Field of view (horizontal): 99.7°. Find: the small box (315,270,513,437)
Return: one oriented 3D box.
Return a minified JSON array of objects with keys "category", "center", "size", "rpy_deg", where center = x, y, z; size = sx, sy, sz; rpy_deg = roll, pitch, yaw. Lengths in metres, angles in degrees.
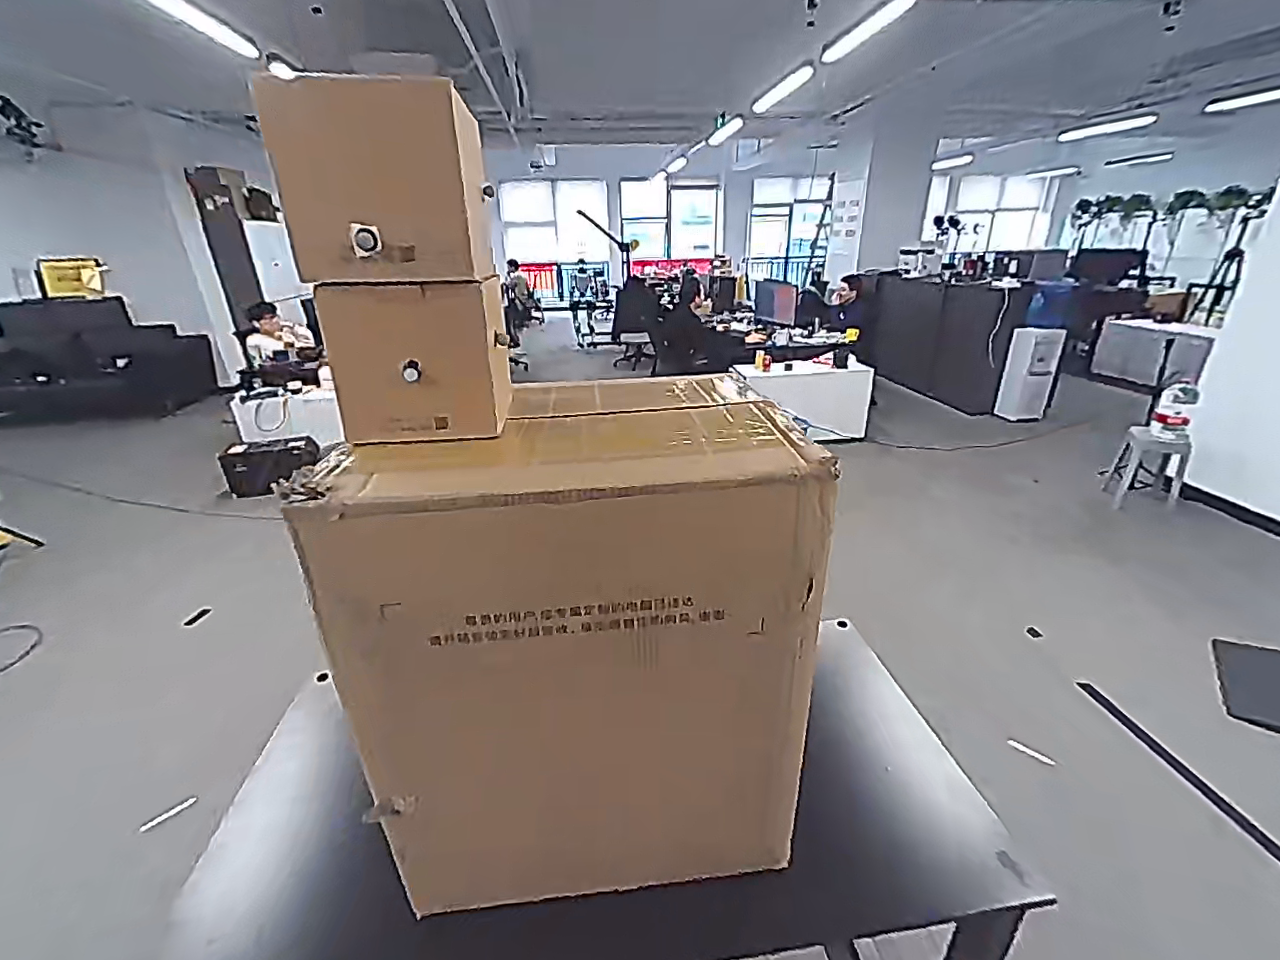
[{"category":"small box","center":[-0.245,-0.152,0.640],"size":[0.168,0.176,0.179],"rpy_deg":[-3,24,-7]}]

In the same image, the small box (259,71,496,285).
[{"category":"small box","center":[-0.248,-0.297,0.563],"size":[0.168,0.176,0.179],"rpy_deg":[-5,24,-7]}]
